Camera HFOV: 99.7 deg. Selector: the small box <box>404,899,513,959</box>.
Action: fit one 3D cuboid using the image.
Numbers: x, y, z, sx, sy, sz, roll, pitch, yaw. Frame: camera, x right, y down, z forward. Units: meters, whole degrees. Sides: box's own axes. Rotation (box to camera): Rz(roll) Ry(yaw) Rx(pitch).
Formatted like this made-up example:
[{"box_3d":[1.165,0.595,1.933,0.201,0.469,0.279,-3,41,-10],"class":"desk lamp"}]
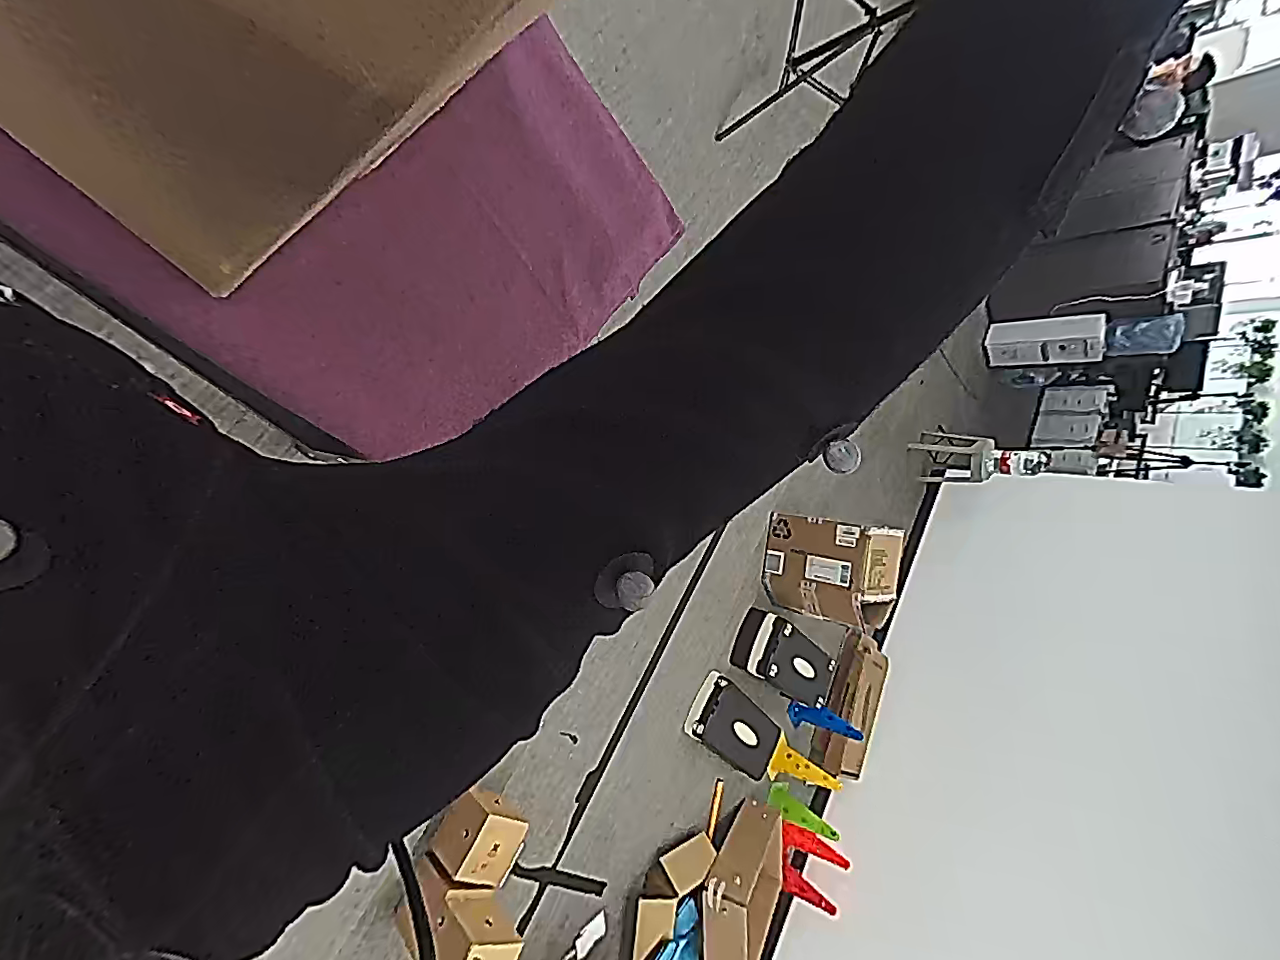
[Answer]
[{"box_3d":[-0.469,1.213,1.382,0.179,0.176,0.168,42,68,-40],"class":"small box"}]
